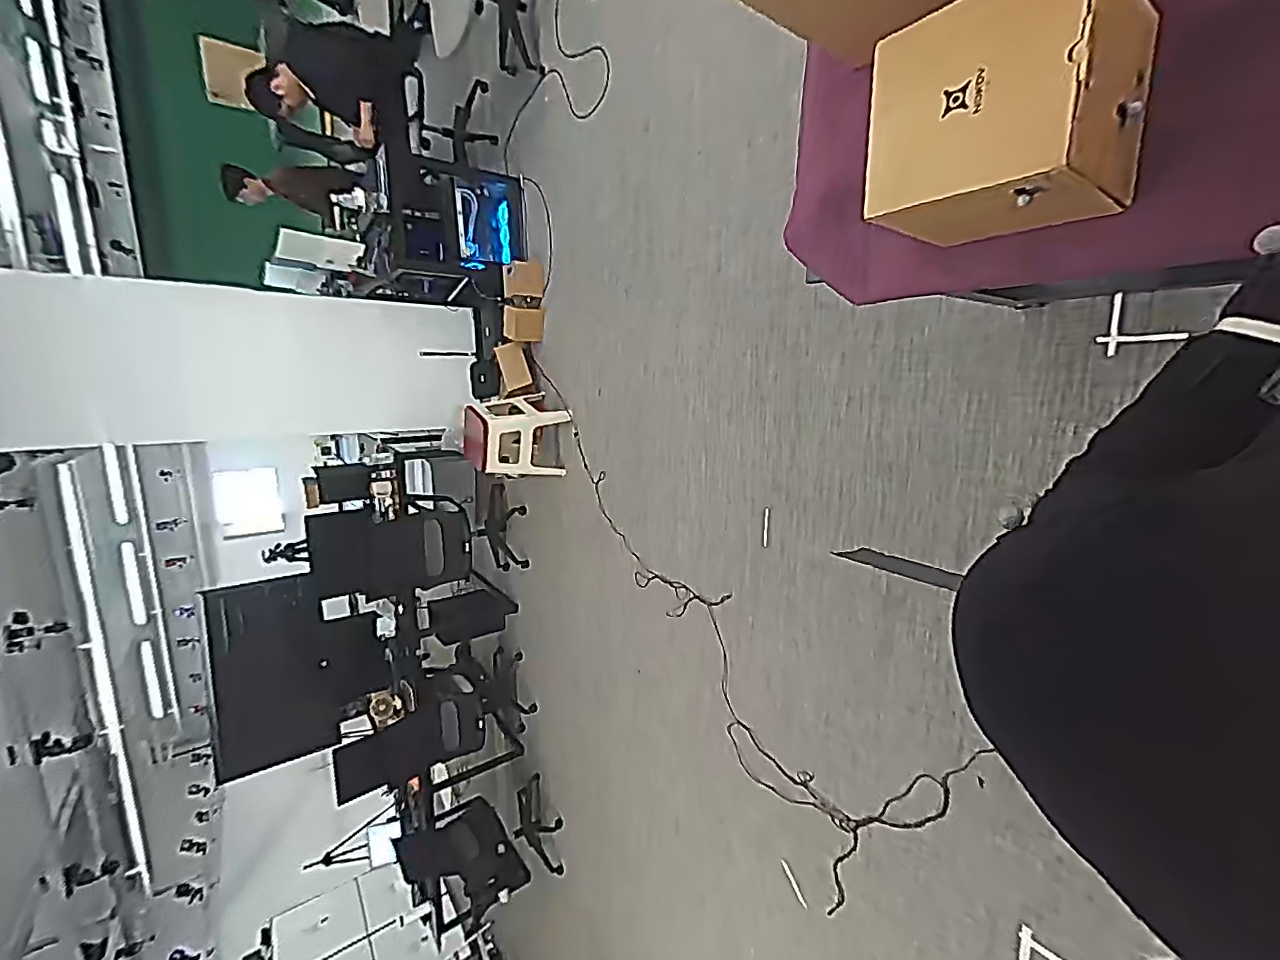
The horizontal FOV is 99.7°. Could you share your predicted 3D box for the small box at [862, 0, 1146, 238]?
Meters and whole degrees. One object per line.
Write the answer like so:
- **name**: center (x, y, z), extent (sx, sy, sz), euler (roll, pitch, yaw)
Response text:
- **small box**: center (0.348, -0.351, 0.528), extent (0.179, 0.176, 0.168), euler (12, 105, 53)
